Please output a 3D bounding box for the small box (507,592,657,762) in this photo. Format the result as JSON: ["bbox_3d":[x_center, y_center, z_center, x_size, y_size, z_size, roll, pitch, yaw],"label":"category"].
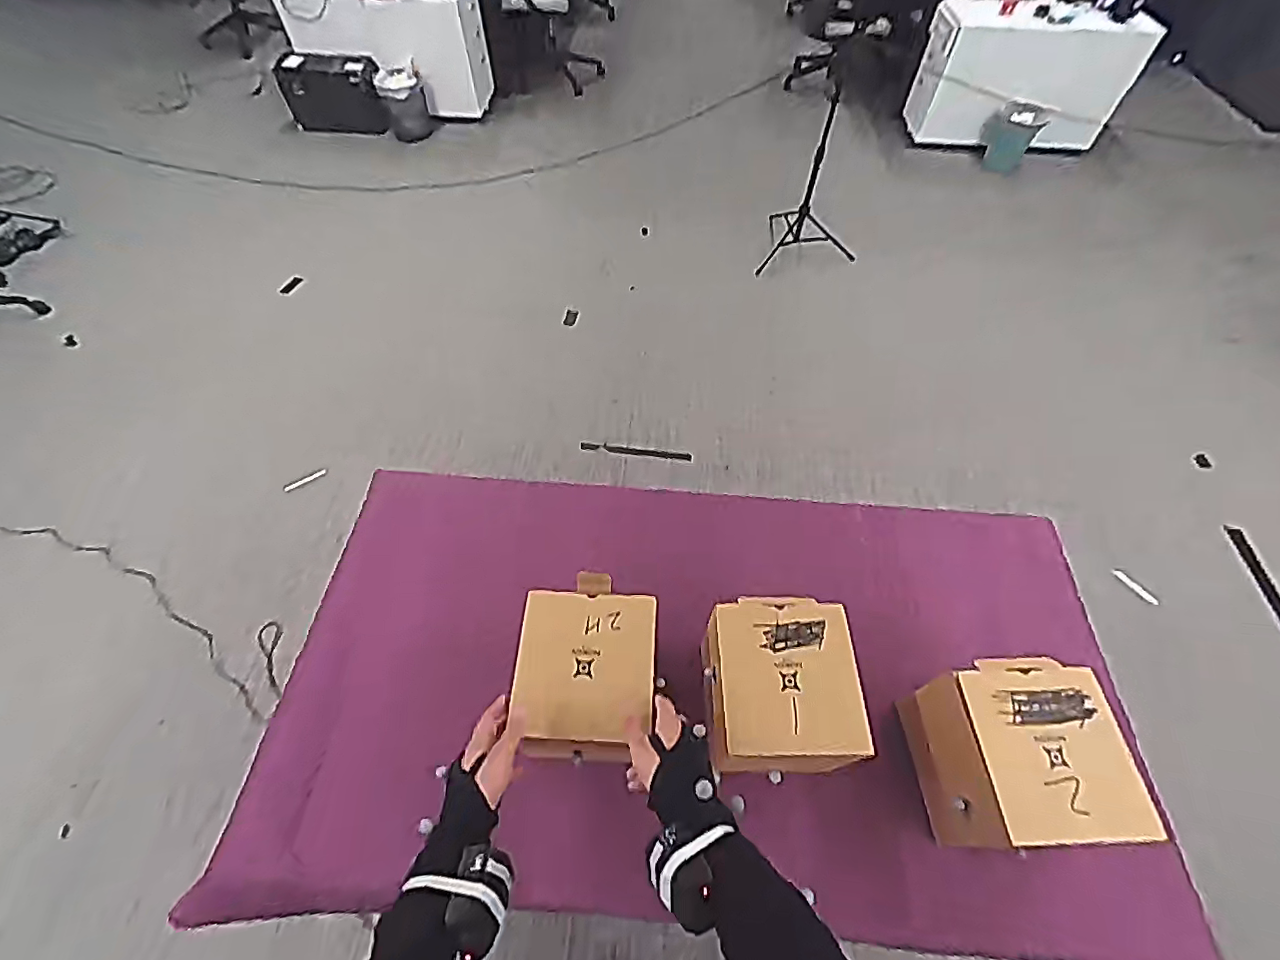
[{"bbox_3d":[-0.065,0.267,0.719,0.168,0.176,0.179,3,55,1],"label":"small box"}]

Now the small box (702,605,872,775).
[{"bbox_3d":[0.177,0.280,0.715,0.168,0.176,0.179,1,56,-1],"label":"small box"}]
